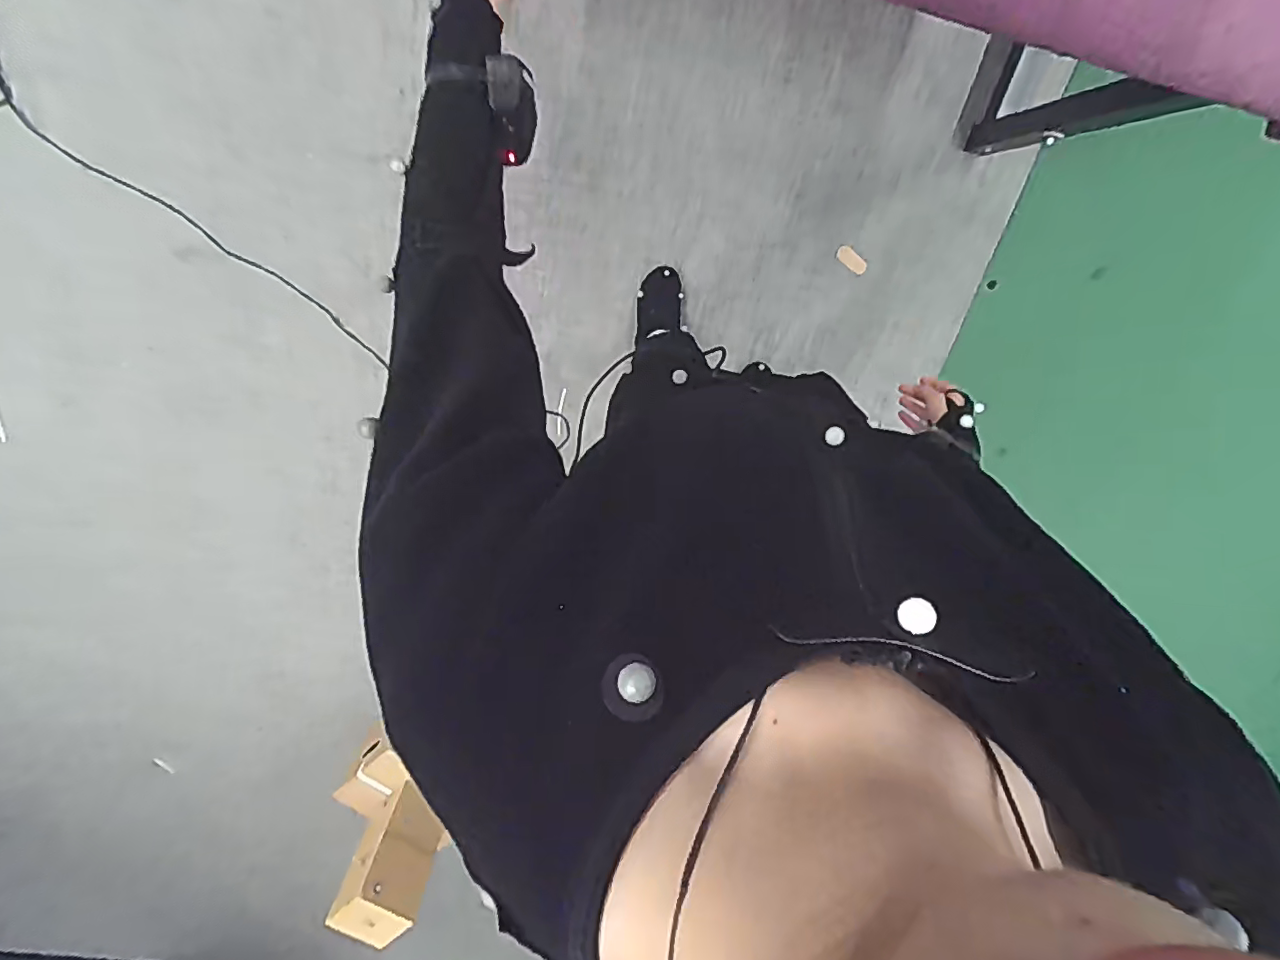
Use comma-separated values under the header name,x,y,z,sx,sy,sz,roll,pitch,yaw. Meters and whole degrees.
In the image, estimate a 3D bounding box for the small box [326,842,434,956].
name,x,y,z,sx,sy,sz,roll,pitch,yaw
small box,-0.700,1.138,1.476,0.179,0.176,0.168,41,107,-15
